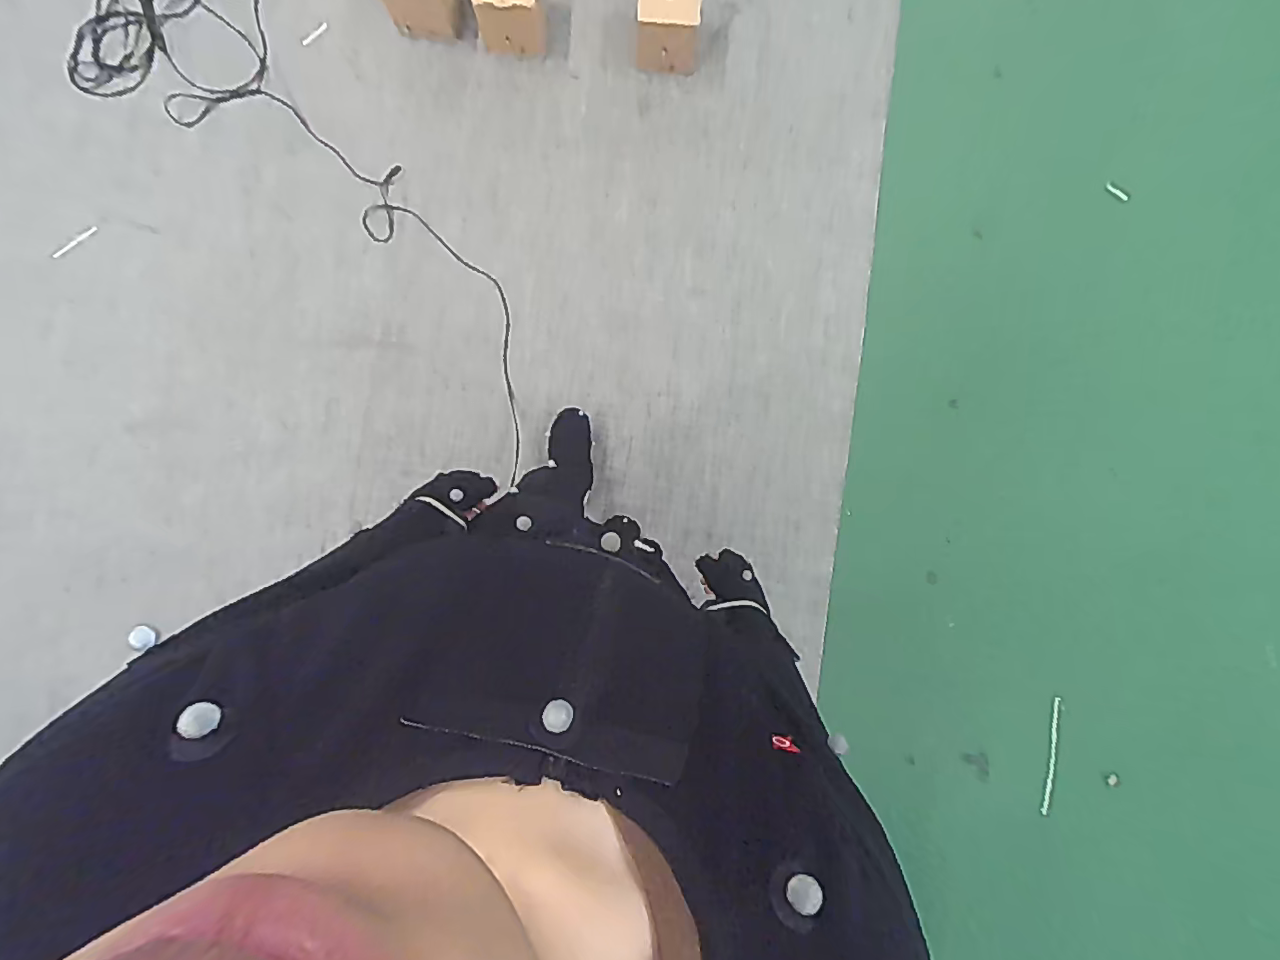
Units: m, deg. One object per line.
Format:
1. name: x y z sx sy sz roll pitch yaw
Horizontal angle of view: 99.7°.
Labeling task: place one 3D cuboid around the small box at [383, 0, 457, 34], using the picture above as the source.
1. small box: -0.603 -1.358 1.461 0.168 0.176 0.179 5 86 -1

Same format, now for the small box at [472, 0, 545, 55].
1. small box: -0.352 -1.308 1.465 0.168 0.176 0.179 2 88 -1

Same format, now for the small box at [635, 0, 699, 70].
1. small box: 0.072 -1.265 1.474 0.168 0.176 0.179 3 88 -2
